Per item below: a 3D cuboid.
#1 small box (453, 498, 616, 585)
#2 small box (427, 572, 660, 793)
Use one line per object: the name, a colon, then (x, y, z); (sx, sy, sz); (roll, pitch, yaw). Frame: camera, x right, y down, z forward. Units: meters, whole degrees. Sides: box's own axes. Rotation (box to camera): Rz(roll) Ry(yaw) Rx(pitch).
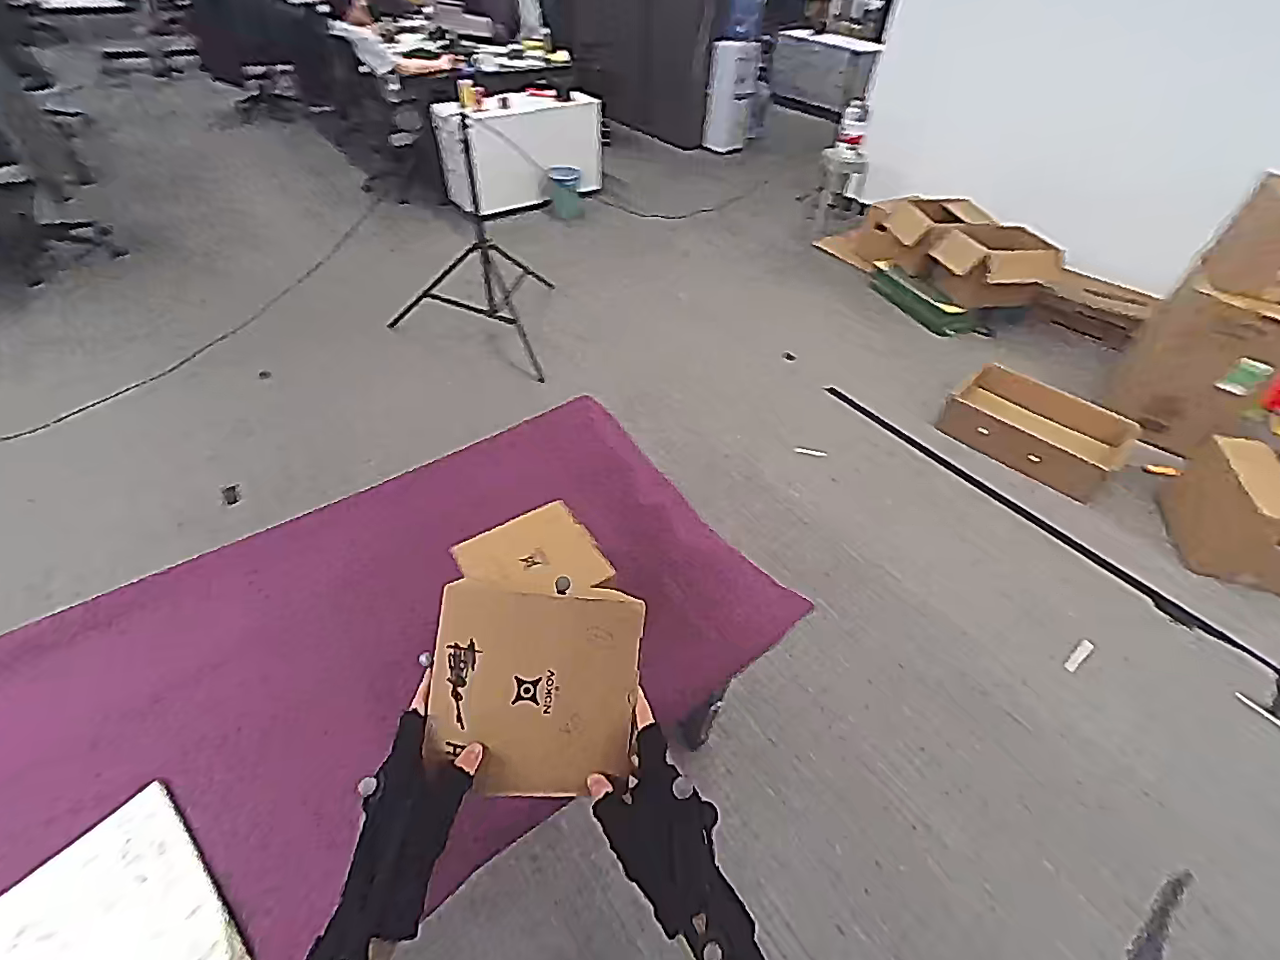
small box: (-0.151, 0.165, 0.808); (0.179, 0.176, 0.168); (-26, 51, -23)
small box: (-0.091, 0.182, 0.530); (0.179, 0.176, 0.168); (8, 81, -11)
